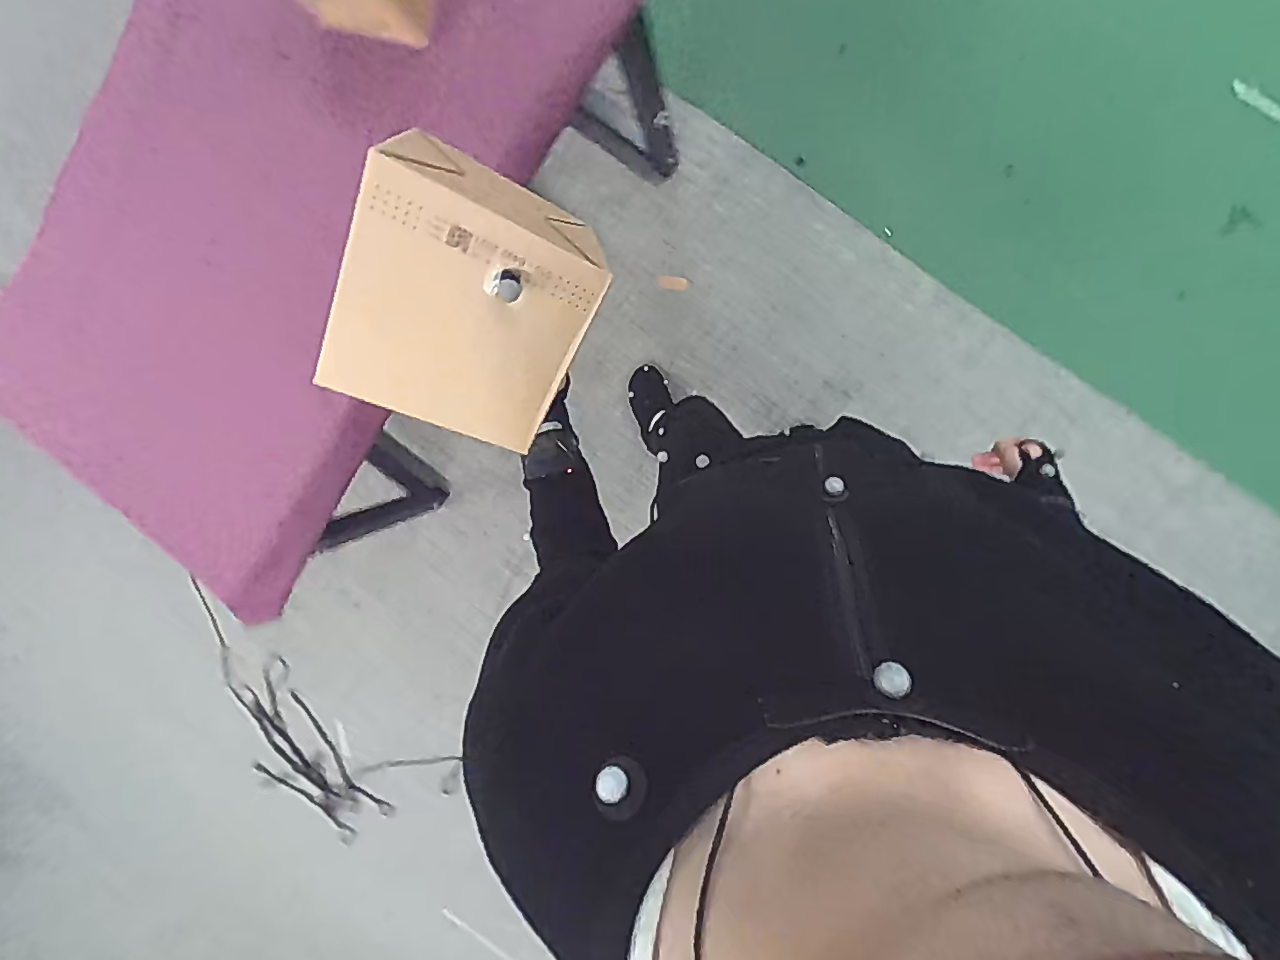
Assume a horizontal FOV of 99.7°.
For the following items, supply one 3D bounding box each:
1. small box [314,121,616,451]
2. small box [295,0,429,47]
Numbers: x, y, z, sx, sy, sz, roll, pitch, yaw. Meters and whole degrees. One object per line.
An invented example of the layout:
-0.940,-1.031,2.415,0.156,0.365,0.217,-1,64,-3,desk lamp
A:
-0.134,-0.159,0.440,0.168,0.179,0.176,20,120,-25,small box
-0.367,-0.683,0.661,0.168,0.176,0.179,18,100,7,small box
